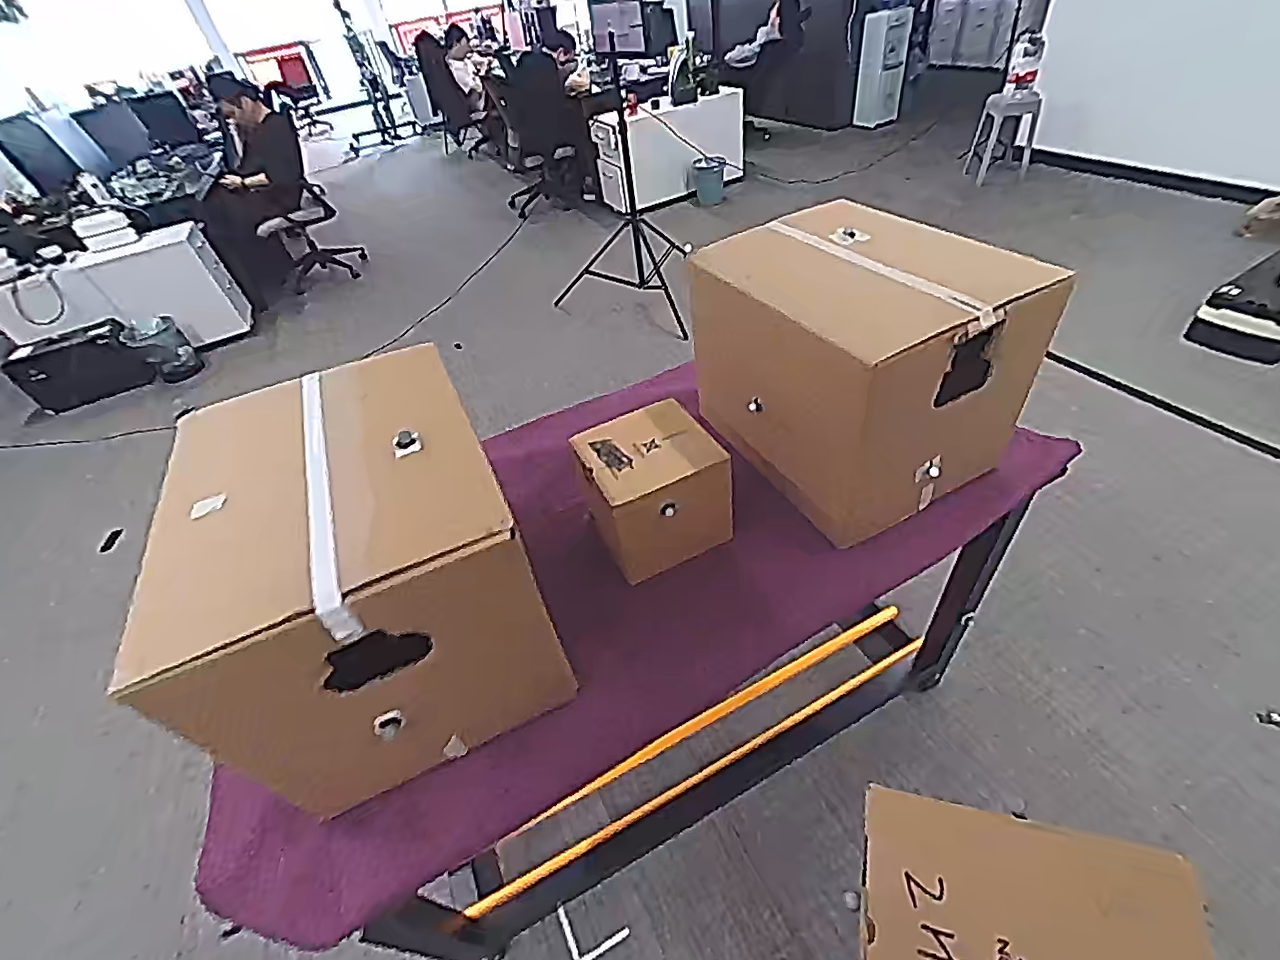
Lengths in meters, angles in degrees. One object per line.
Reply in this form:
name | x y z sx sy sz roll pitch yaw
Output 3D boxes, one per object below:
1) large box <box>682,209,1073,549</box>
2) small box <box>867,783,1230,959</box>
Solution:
large box | 0.310 -0.173 0.828 0.320 0.320 0.408 -24 43 -14
small box | 0.250 0.318 0.365 0.179 0.176 0.168 1 61 25
